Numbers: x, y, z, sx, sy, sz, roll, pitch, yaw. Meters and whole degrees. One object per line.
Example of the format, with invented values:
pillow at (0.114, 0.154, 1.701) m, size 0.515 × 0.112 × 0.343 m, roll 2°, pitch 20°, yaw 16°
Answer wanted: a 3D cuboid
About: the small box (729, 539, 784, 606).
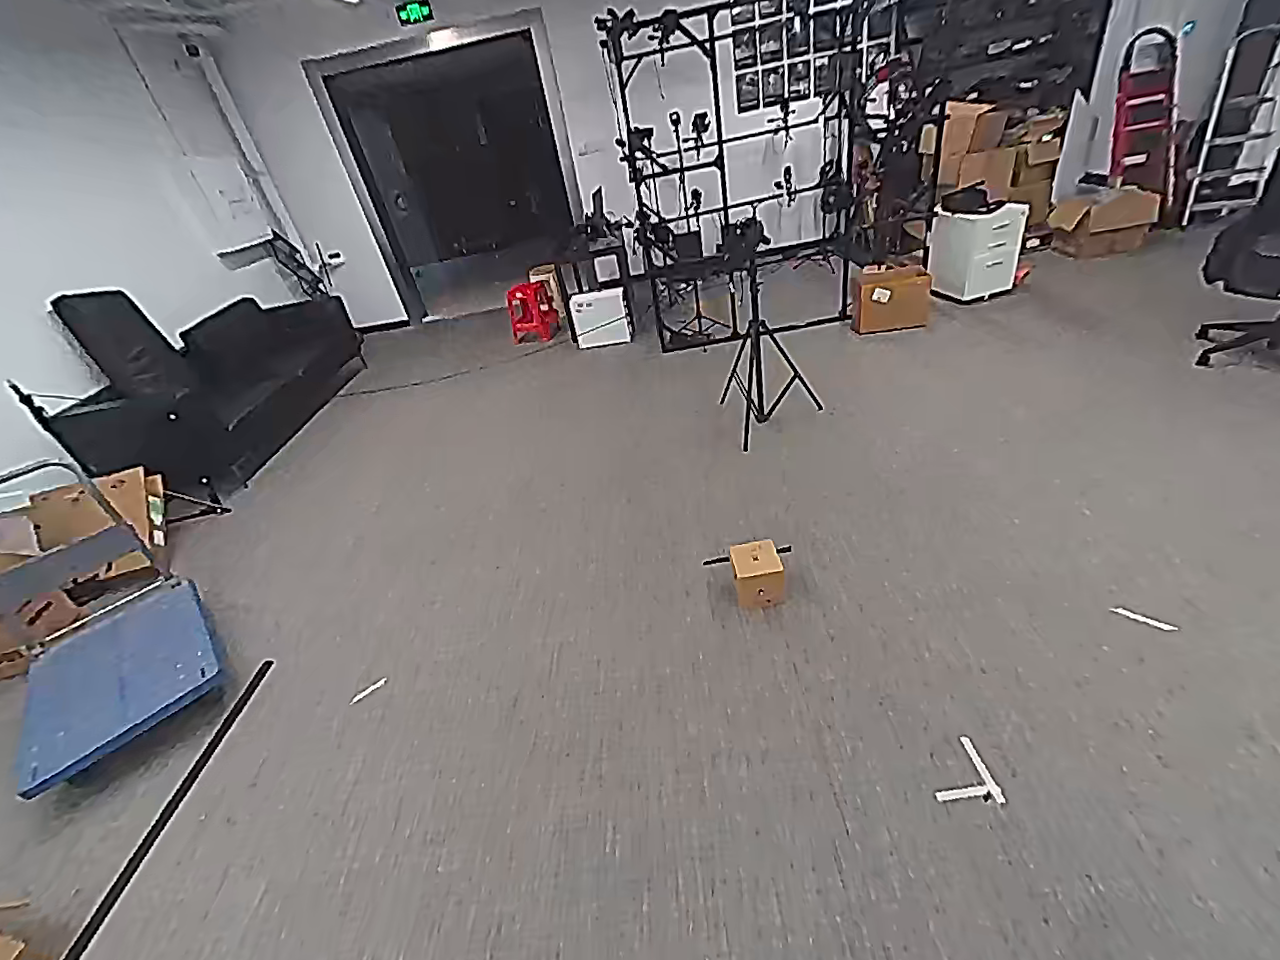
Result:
small box at (0.435, 0.350, 2.016) m, size 0.168 × 0.176 × 0.179 m, roll -10°, pitch 33°, yaw 3°
